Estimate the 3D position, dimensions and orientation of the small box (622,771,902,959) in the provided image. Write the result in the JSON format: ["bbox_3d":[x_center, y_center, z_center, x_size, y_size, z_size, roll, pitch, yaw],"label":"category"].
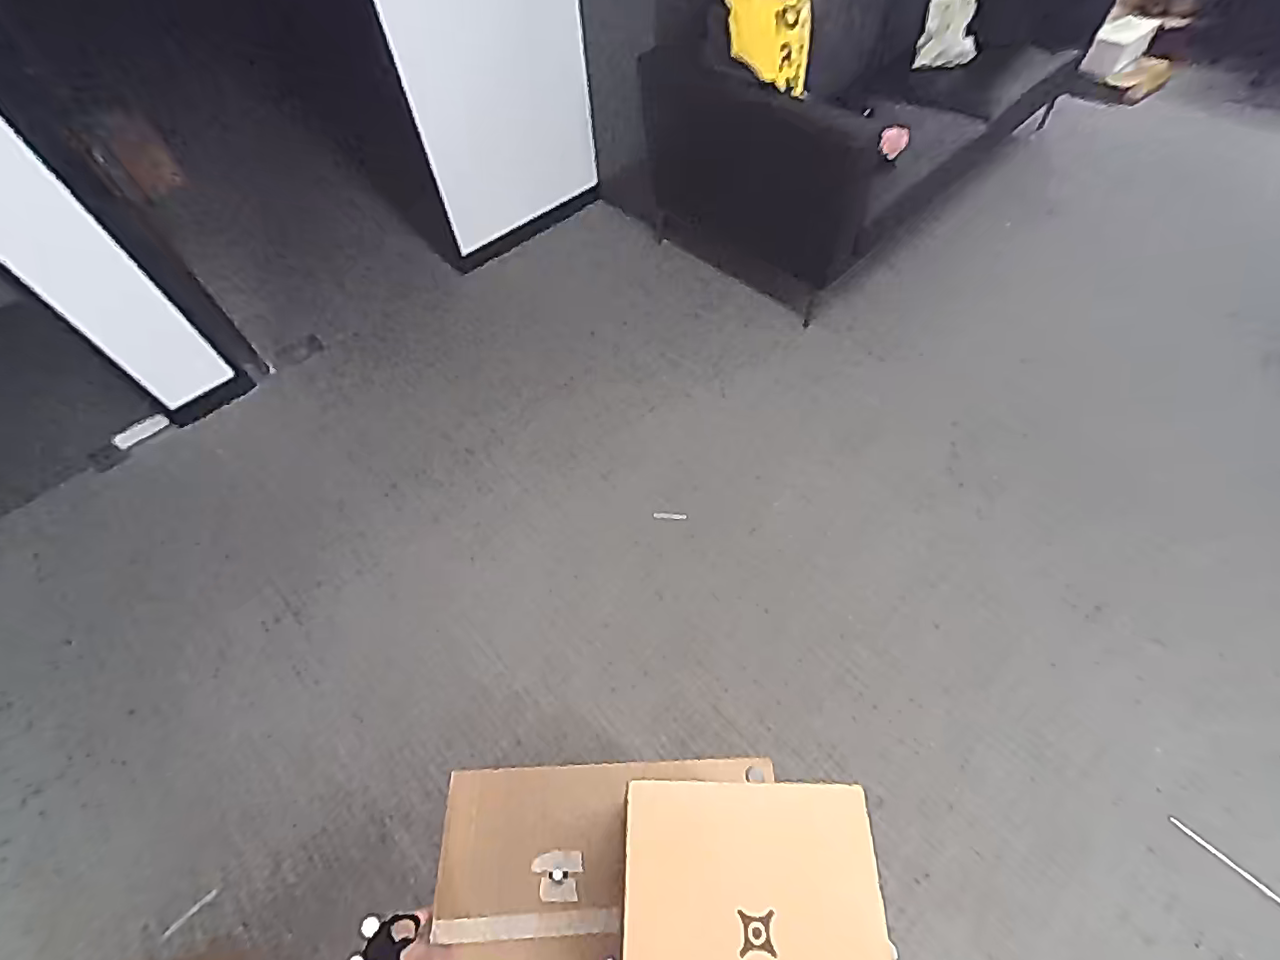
[{"bbox_3d":[0.072,0.320,0.394,0.168,0.176,0.179,2,58,-1],"label":"small box"}]
